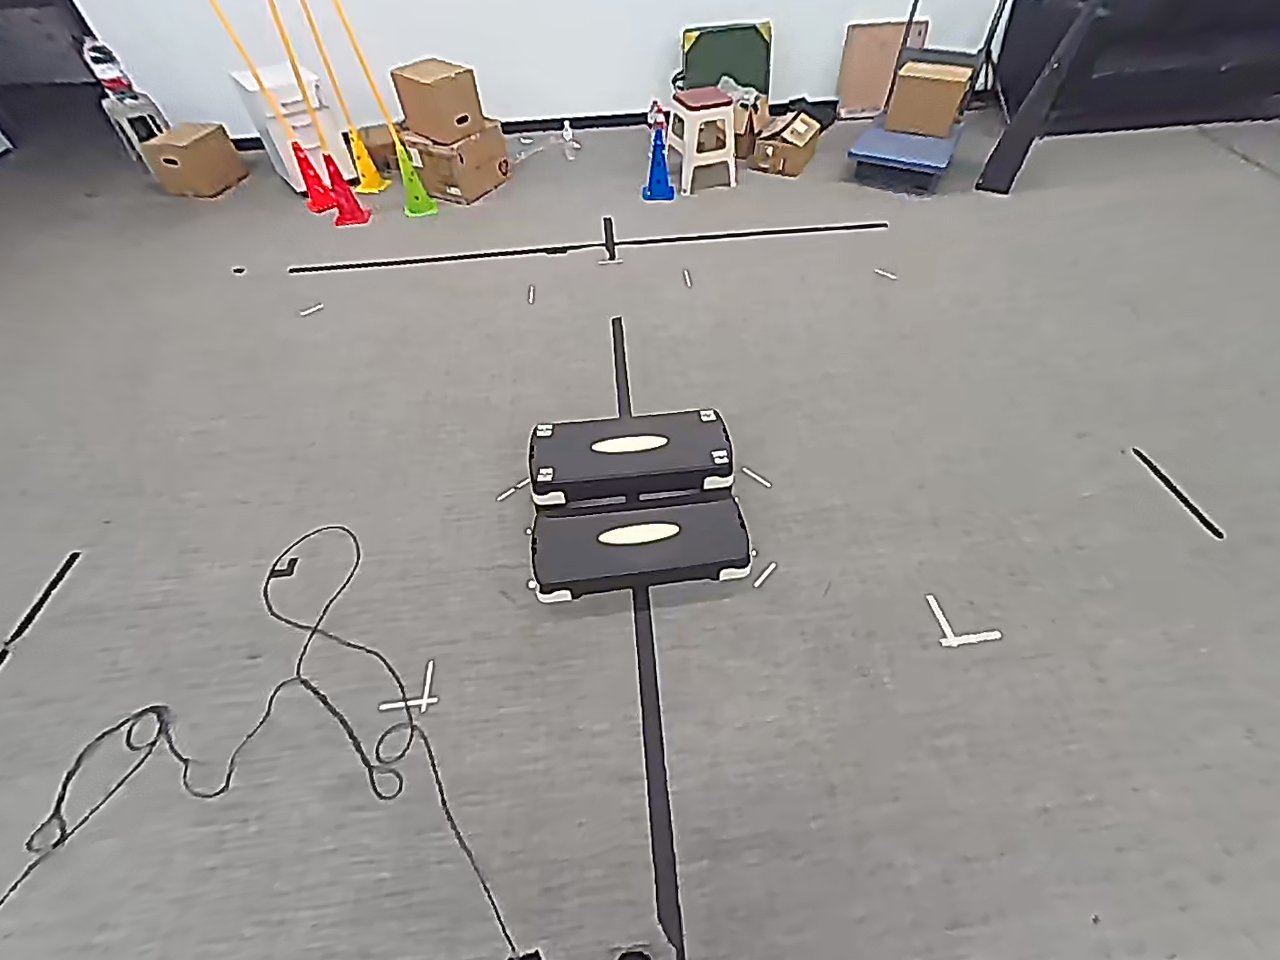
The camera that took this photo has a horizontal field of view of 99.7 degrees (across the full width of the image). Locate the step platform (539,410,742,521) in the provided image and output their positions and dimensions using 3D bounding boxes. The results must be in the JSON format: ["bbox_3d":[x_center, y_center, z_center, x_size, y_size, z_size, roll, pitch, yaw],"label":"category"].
[{"bbox_3d":[0.000,-0.060,1.860,0.684,0.204,0.286,-6,50,-4],"label":"step platform"}]
